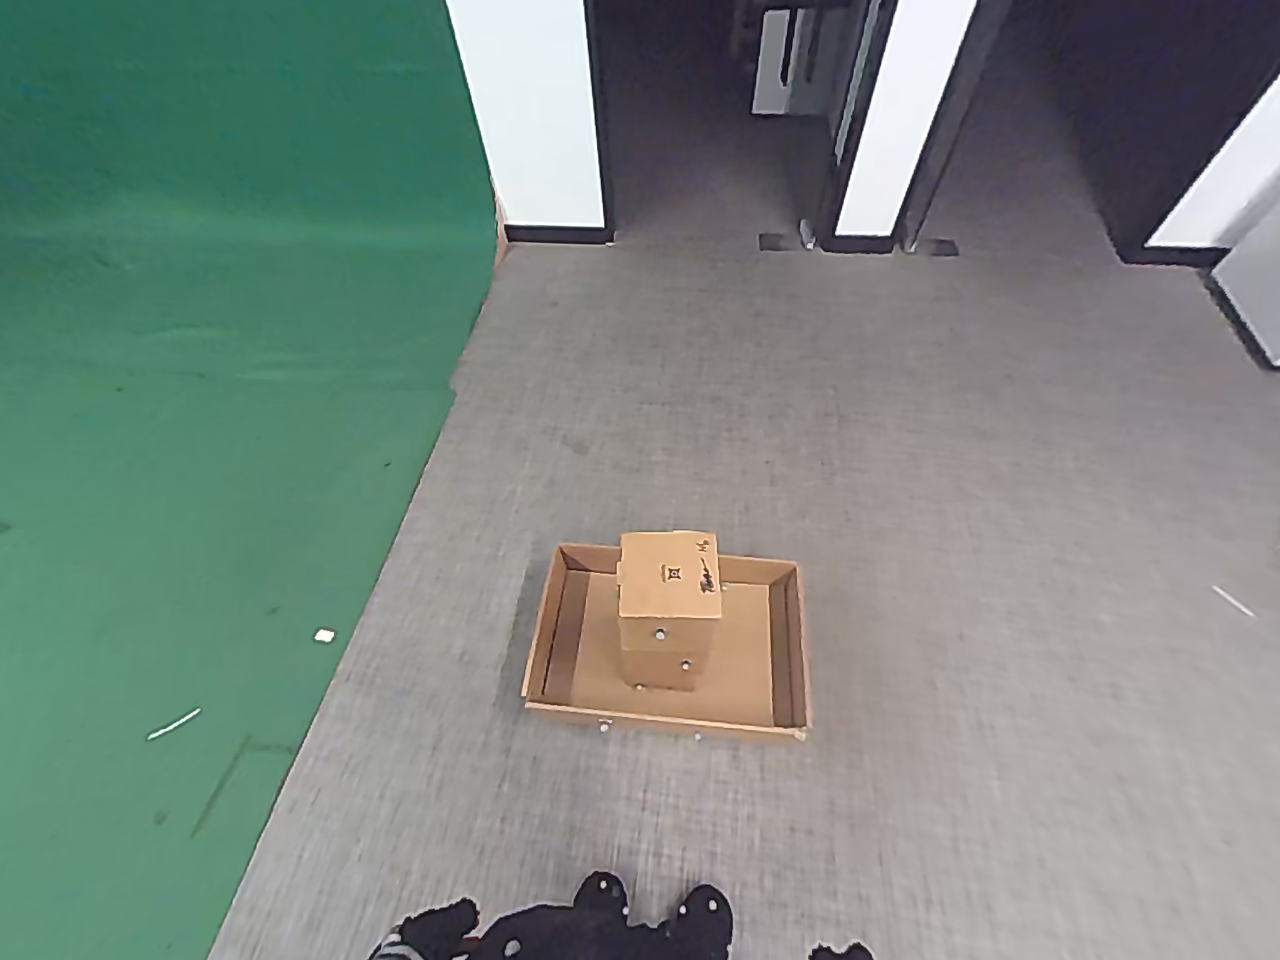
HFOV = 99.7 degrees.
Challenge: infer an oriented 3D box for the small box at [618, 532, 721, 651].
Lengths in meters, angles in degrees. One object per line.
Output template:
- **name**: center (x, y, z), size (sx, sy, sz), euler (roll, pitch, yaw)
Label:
- **small box**: center (0.051, 0.213, 1.016), size (0.179, 0.176, 0.168), euler (-2, 52, -1)

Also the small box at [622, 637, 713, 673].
- **small box**: center (0.052, 0.299, 1.134), size (0.179, 0.176, 0.168), euler (-1, 55, 0)

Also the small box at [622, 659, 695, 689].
- **small box**: center (0.053, 0.386, 1.289), size (0.168, 0.176, 0.179), euler (3, 55, 4)
